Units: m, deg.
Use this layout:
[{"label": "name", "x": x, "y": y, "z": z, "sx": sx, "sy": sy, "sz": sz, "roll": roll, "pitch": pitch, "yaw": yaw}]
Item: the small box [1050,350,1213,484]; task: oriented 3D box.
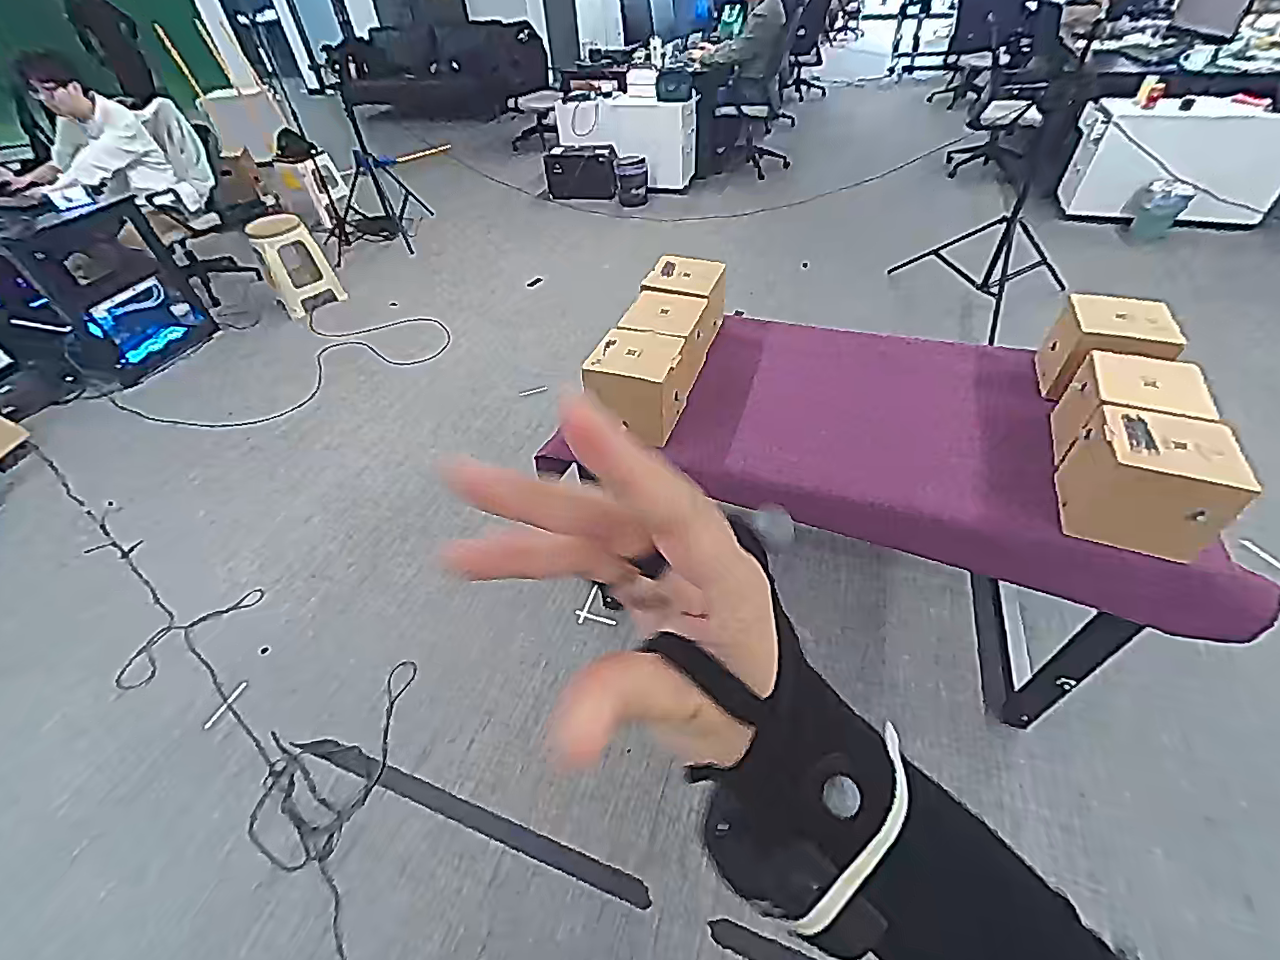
[{"label": "small box", "x": 0.909, "y": -0.118, "z": 1.022, "sx": 0.168, "sy": 0.176, "sz": 0.179, "roll": 16, "pitch": 48, "yaw": 20}]

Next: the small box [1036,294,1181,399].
[{"label": "small box", "x": 0.984, "y": -0.275, "z": 1.162, "sx": 0.179, "sy": 0.176, "sz": 0.168, "roll": 14, "pitch": 49, "yaw": 16}]

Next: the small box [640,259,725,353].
[{"label": "small box", "x": 0.111, "y": -0.450, "z": 1.402, "sx": 0.179, "sy": 0.176, "sz": 0.168, "roll": 15, "pitch": 50, "yaw": 16}]

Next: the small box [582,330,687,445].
[{"label": "small box", "x": -0.006, "y": -0.196, "z": 1.164, "sx": 0.179, "sy": 0.176, "sz": 0.168, "roll": 14, "pitch": 47, "yaw": 15}]
